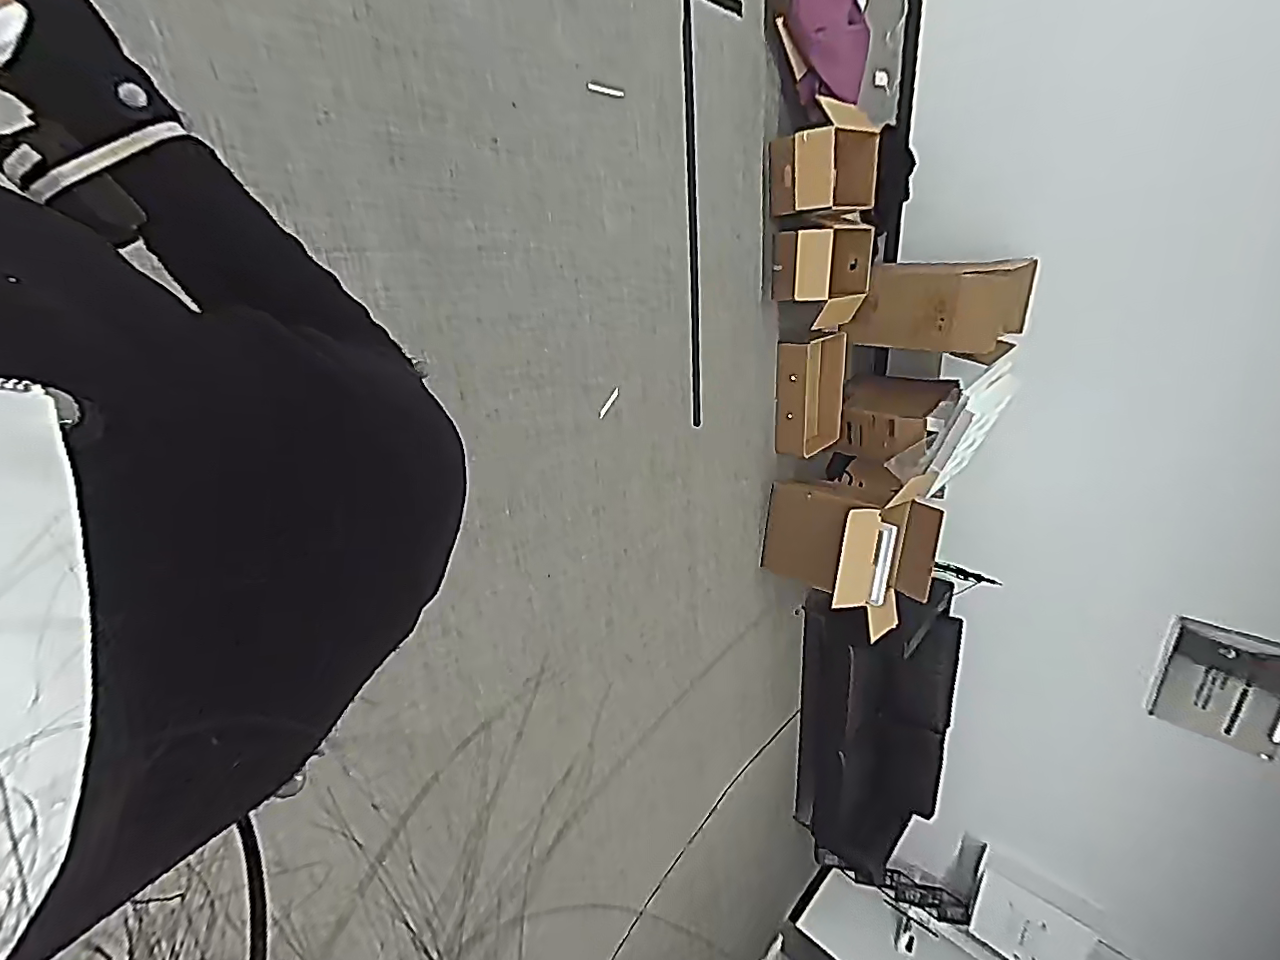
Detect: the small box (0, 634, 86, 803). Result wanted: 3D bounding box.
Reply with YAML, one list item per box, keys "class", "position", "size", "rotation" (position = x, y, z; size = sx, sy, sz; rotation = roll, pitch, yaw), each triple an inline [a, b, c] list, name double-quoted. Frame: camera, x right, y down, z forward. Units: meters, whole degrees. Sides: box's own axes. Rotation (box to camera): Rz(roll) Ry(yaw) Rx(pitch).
- class: "small box"
  position: [-0.983, 0.370, 0.822]
  size: [0.168, 0.176, 0.179]
  rotation: [-20, 116, -42]

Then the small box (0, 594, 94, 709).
- class: "small box"
  position: [-1.093, 0.329, 0.938]
  size: [0.168, 0.176, 0.179]
  rotation: [-24, 119, -40]
